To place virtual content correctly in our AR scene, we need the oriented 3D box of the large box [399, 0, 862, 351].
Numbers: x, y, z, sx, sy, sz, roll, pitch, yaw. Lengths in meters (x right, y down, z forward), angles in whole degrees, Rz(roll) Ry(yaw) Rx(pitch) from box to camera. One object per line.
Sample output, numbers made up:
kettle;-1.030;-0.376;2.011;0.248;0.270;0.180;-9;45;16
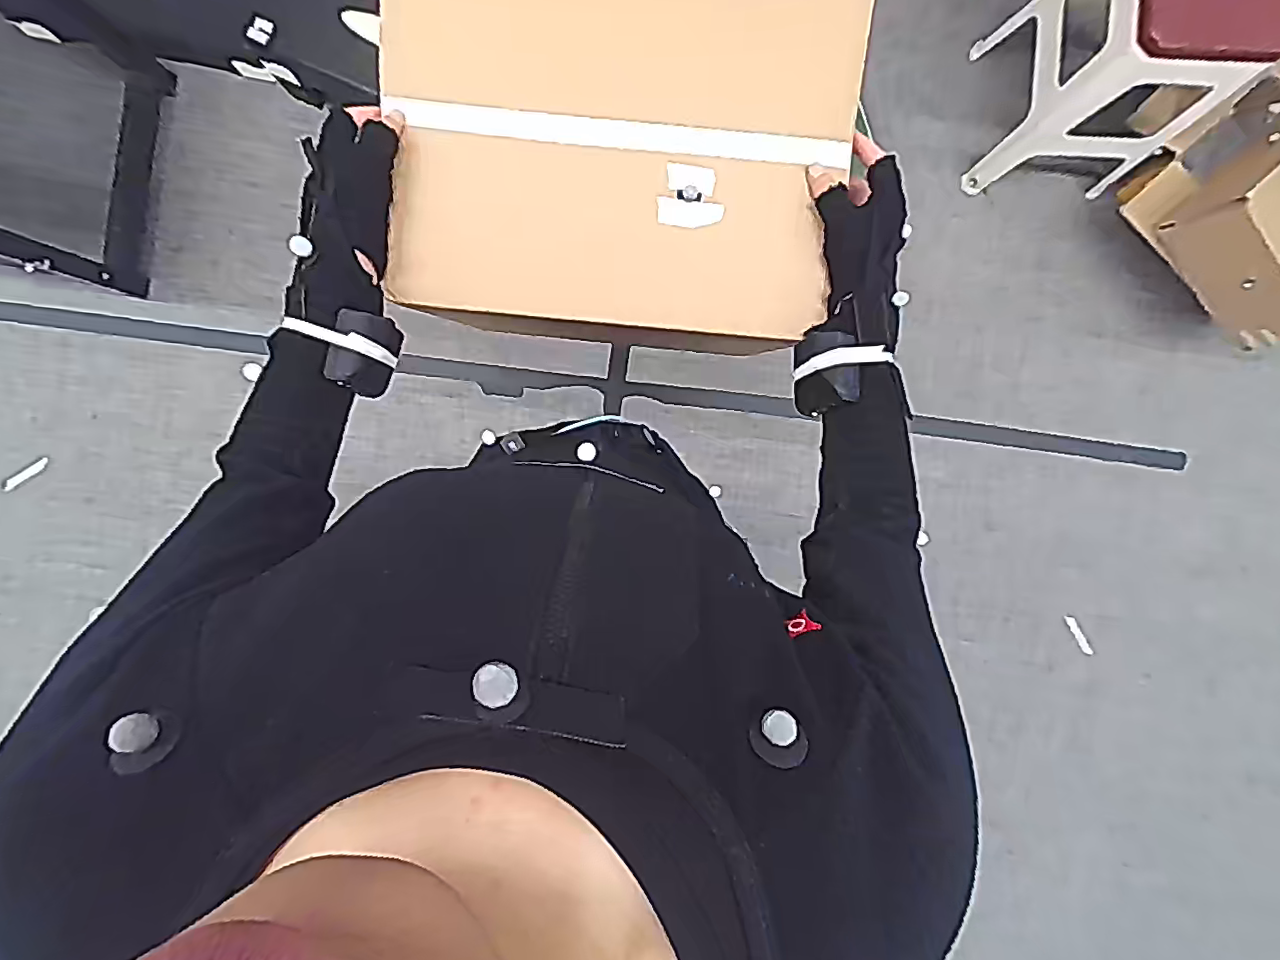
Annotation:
large box;-0.020;-0.329;0.631;0.408;0.320;0.320;5;101;-2
